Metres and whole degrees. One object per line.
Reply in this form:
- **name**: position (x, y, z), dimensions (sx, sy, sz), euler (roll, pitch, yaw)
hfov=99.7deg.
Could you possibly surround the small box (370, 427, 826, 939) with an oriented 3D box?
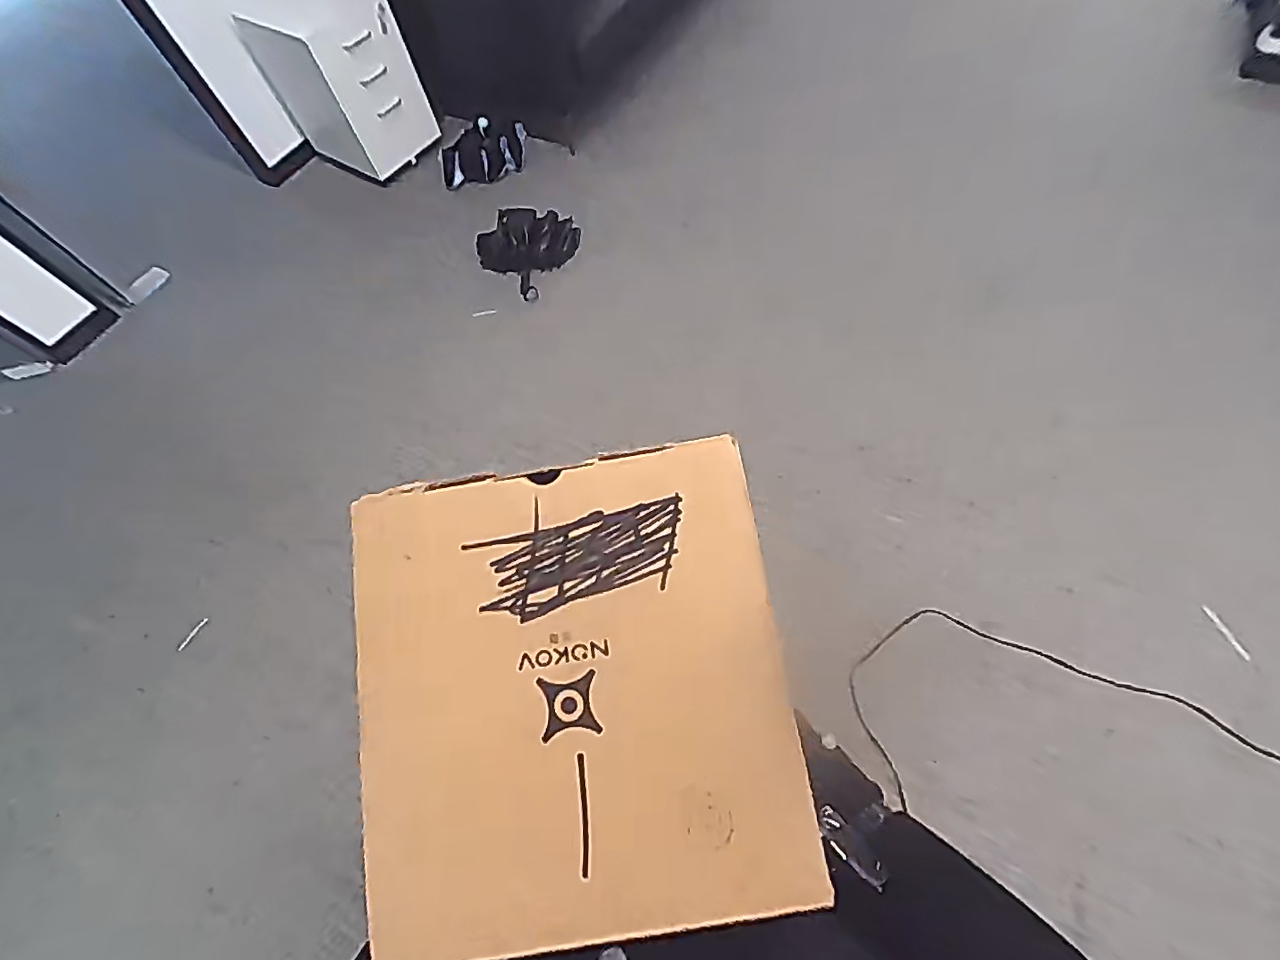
- **small box**: position (-0.022, 0.091, 0.295), dimensions (0.168, 0.176, 0.179), euler (-10, 76, 0)
